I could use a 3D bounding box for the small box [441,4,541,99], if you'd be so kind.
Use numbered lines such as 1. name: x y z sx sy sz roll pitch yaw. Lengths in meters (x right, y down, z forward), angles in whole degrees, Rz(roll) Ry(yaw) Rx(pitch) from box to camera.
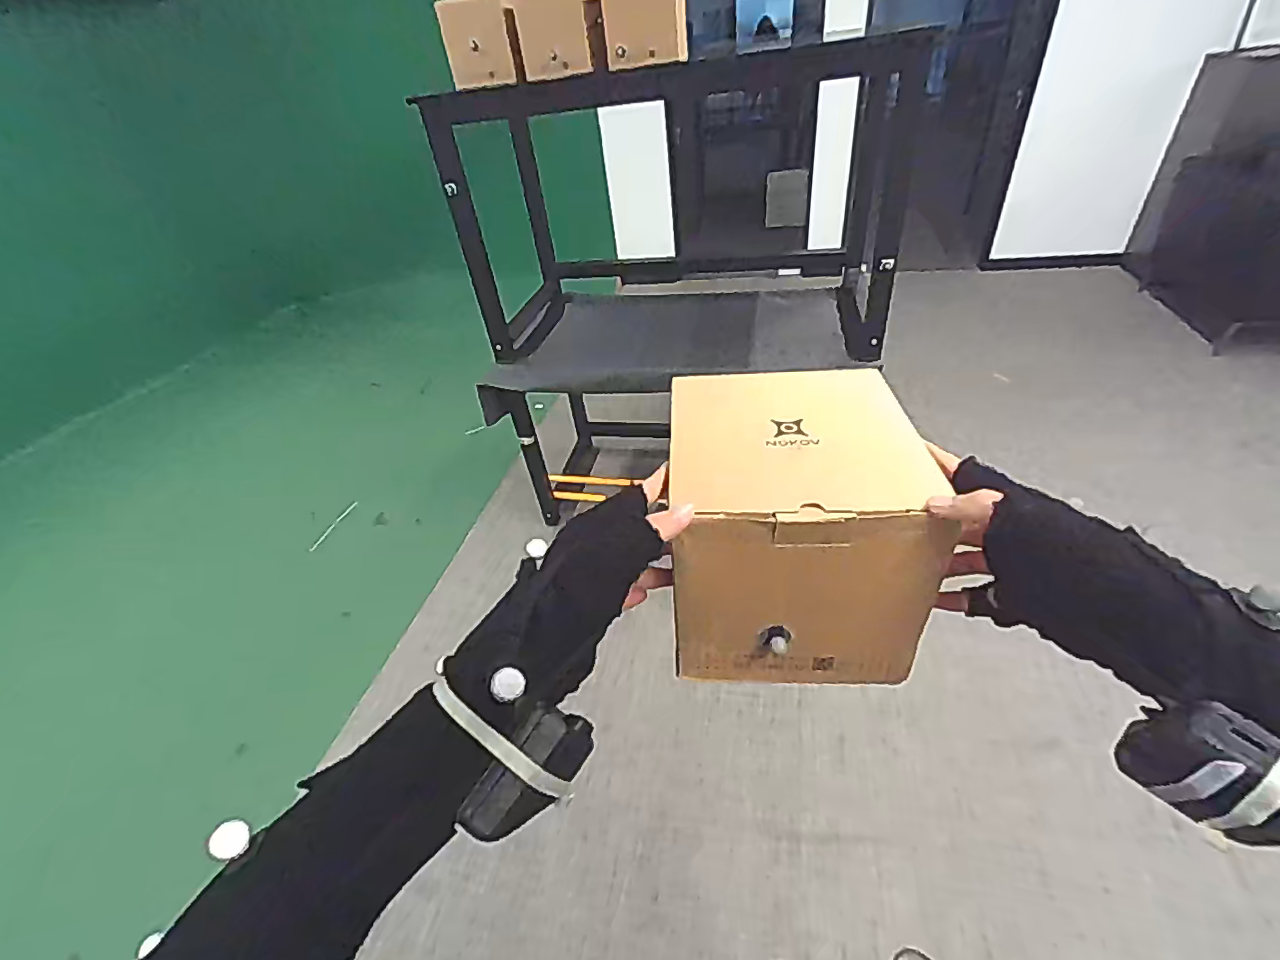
1. small box: -0.362 -1.069 1.356 0.168 0.176 0.179 3 40 13

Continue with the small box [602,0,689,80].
1. small box: 0.020 -1.038 1.247 0.168 0.176 0.179 1 38 12
